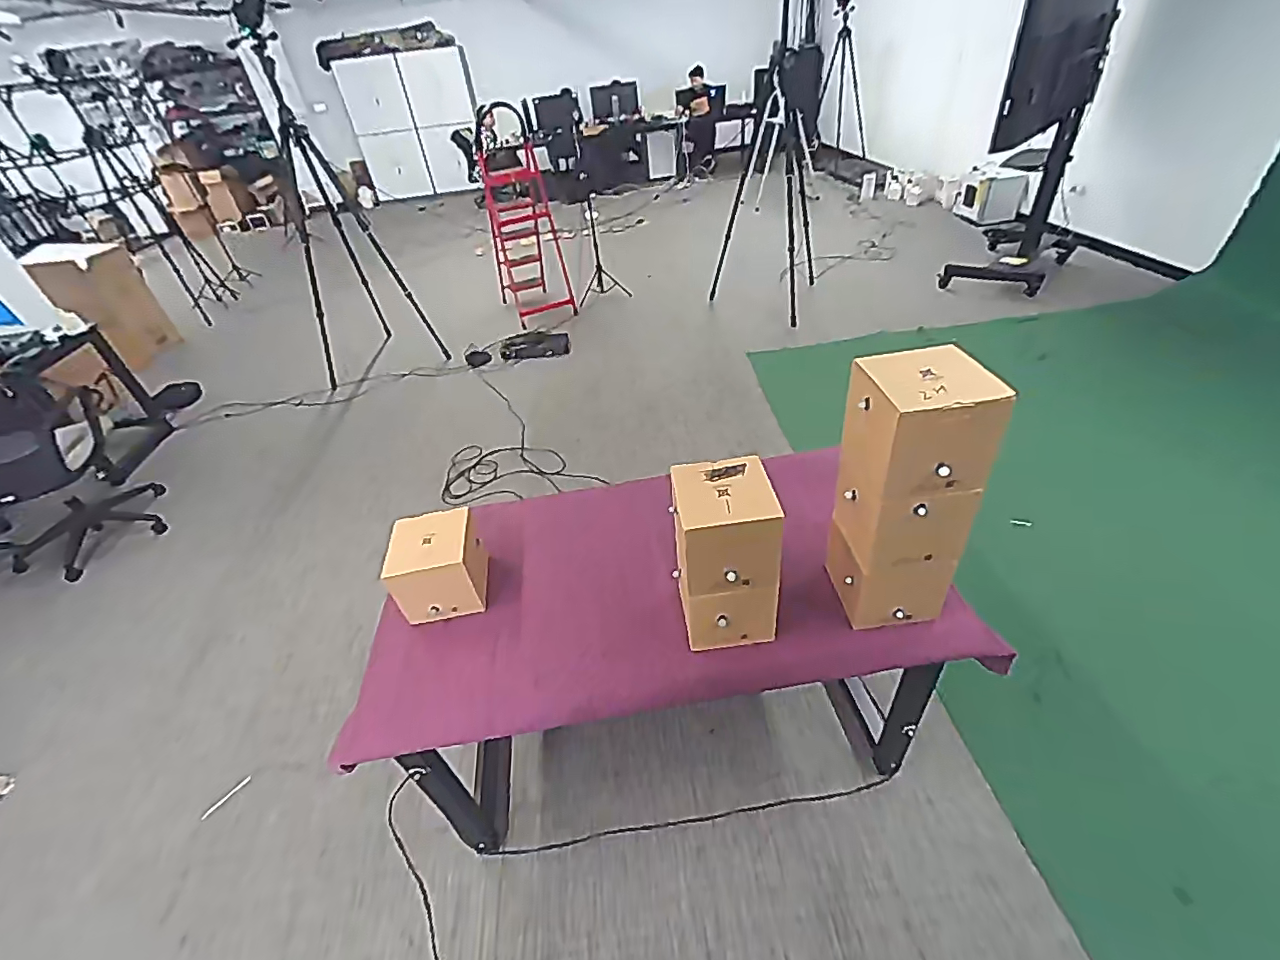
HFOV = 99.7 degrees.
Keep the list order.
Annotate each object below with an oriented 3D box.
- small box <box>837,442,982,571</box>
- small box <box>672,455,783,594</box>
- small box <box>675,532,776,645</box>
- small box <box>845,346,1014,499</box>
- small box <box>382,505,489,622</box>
[{"bbox_3d":[0.465,0.037,0.967,0.168,0.176,0.179,-8,38,2],"label":"small box"},{"bbox_3d":[0.151,0.080,0.973,0.168,0.176,0.179,-8,38,1],"label":"small box"},{"bbox_3d":[0.167,0.209,1.072,0.168,0.176,0.179,-8,38,0],"label":"small box"},{"bbox_3d":[0.445,-0.093,0.868,0.168,0.176,0.179,-8,39,2],"label":"small box"},{"bbox_3d":[-0.442,0.185,1.201,0.168,0.176,0.179,-11,40,-3],"label":"small box"}]
